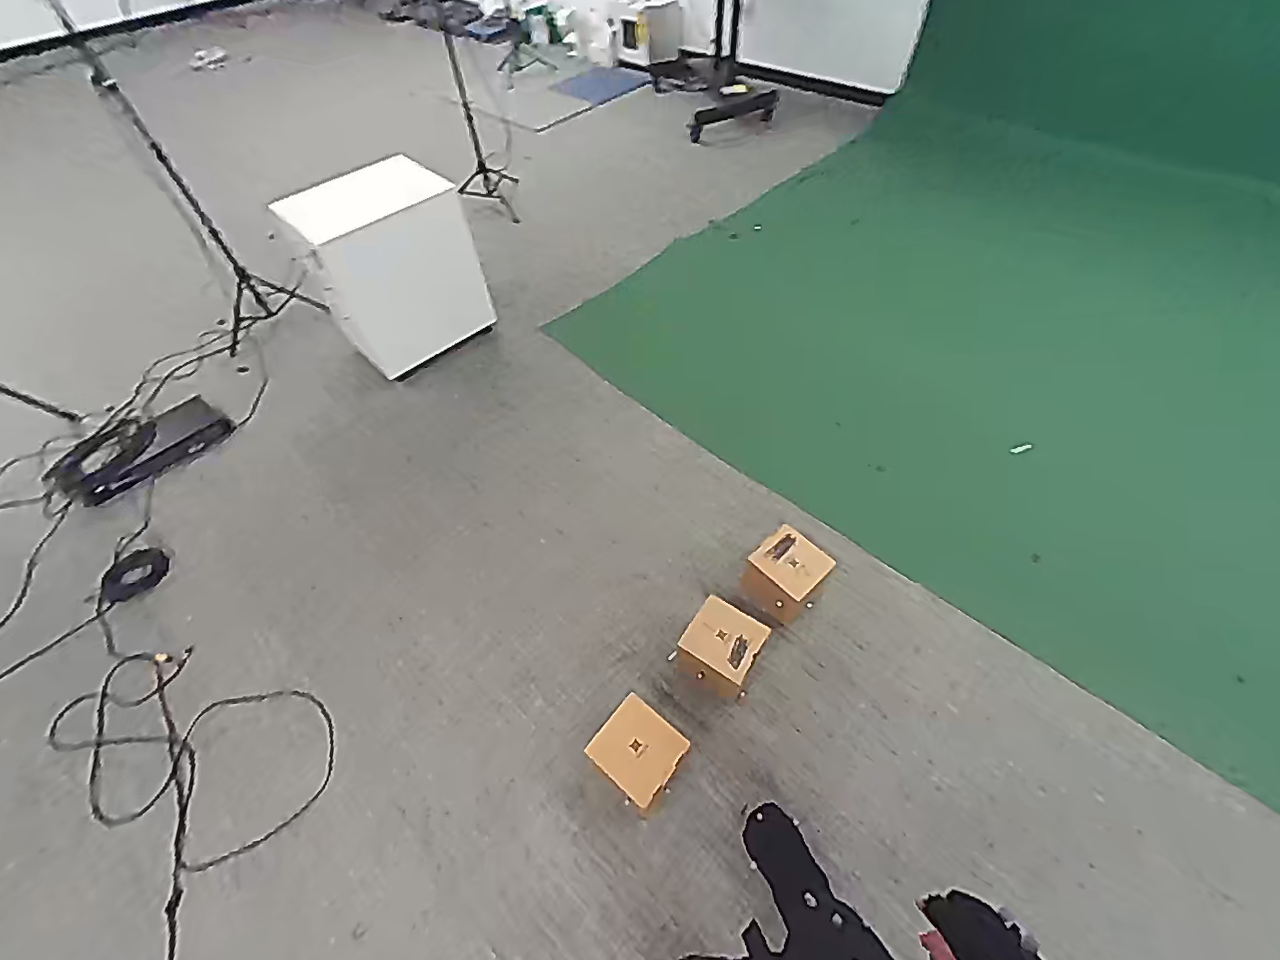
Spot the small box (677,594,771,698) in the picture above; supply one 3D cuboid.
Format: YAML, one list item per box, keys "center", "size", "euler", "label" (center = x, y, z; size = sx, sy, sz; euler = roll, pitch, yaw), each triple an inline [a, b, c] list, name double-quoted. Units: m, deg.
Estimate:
- center: [0.209, 0.428, 1.374]
  size: [0.179, 0.176, 0.168]
  euler: [28, 59, 23]
  label: "small box"

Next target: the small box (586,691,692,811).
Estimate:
- center: [0.000, 0.625, 1.236]
  size: [0.179, 0.176, 0.168]
  euler: [33, 61, 24]
  label: "small box"
